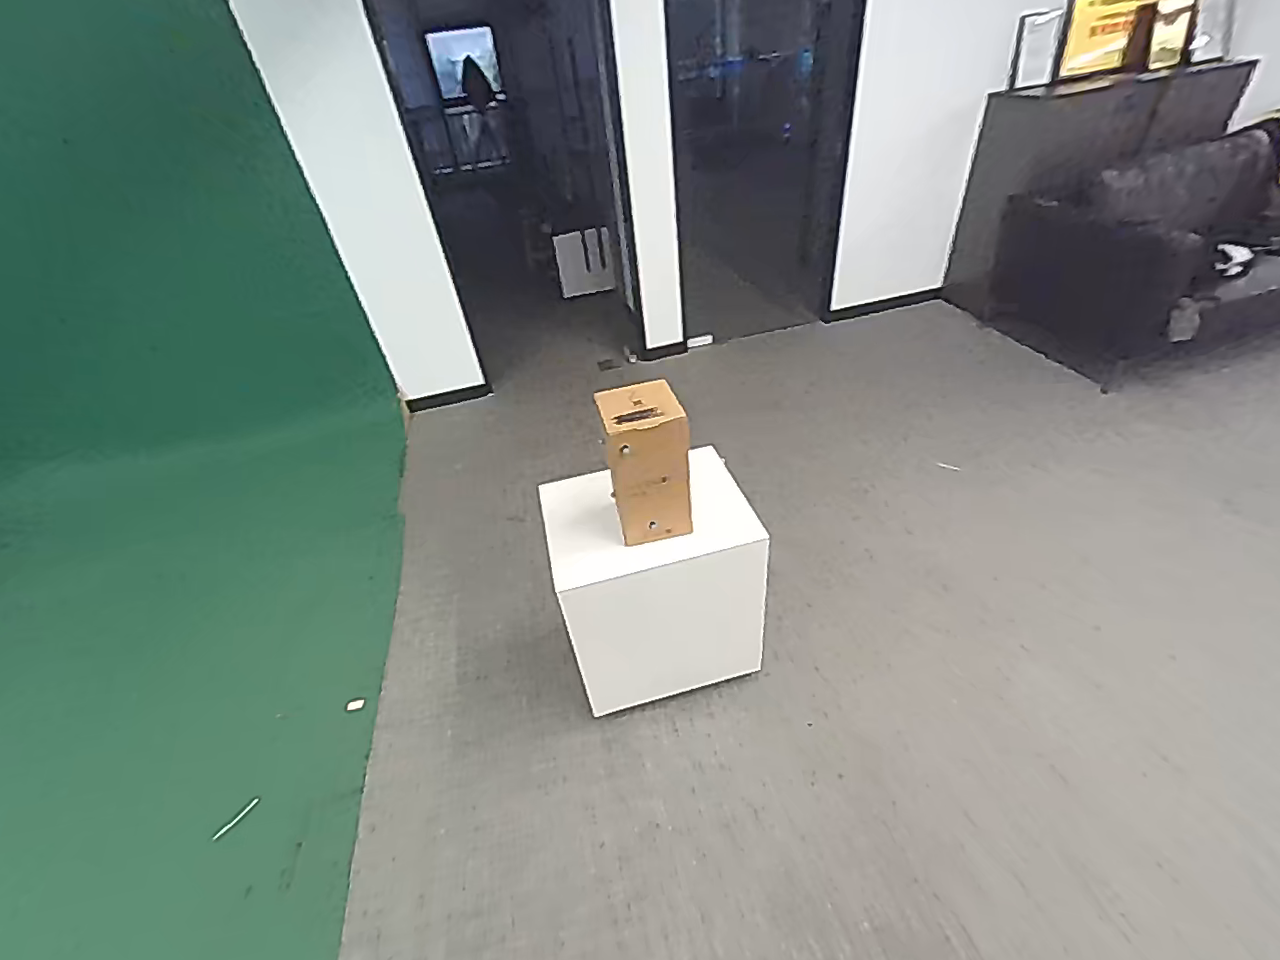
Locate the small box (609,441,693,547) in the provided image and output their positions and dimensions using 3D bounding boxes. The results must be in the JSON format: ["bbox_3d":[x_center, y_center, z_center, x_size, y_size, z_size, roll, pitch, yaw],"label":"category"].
[{"bbox_3d":[0.026,0.033,1.295,0.168,0.176,0.179,-12,38,-5],"label":"small box"}]
